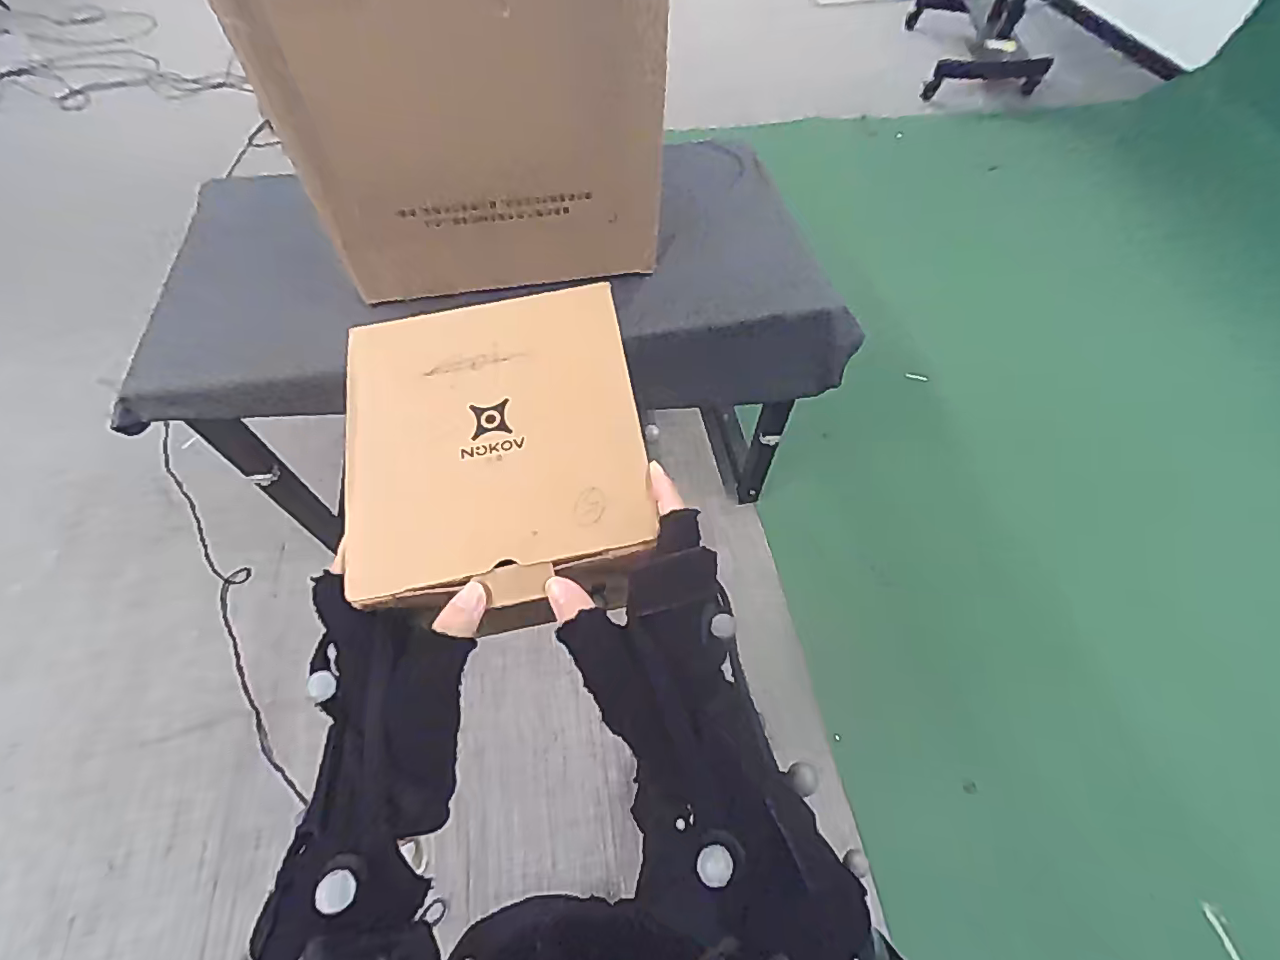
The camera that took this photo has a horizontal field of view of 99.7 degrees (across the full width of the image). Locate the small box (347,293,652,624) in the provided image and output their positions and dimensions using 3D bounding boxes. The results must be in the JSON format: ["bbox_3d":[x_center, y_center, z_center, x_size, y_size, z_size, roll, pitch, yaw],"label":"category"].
[{"bbox_3d":[-0.086,0.000,0.394,0.168,0.176,0.179,-11,67,-3],"label":"small box"}]
